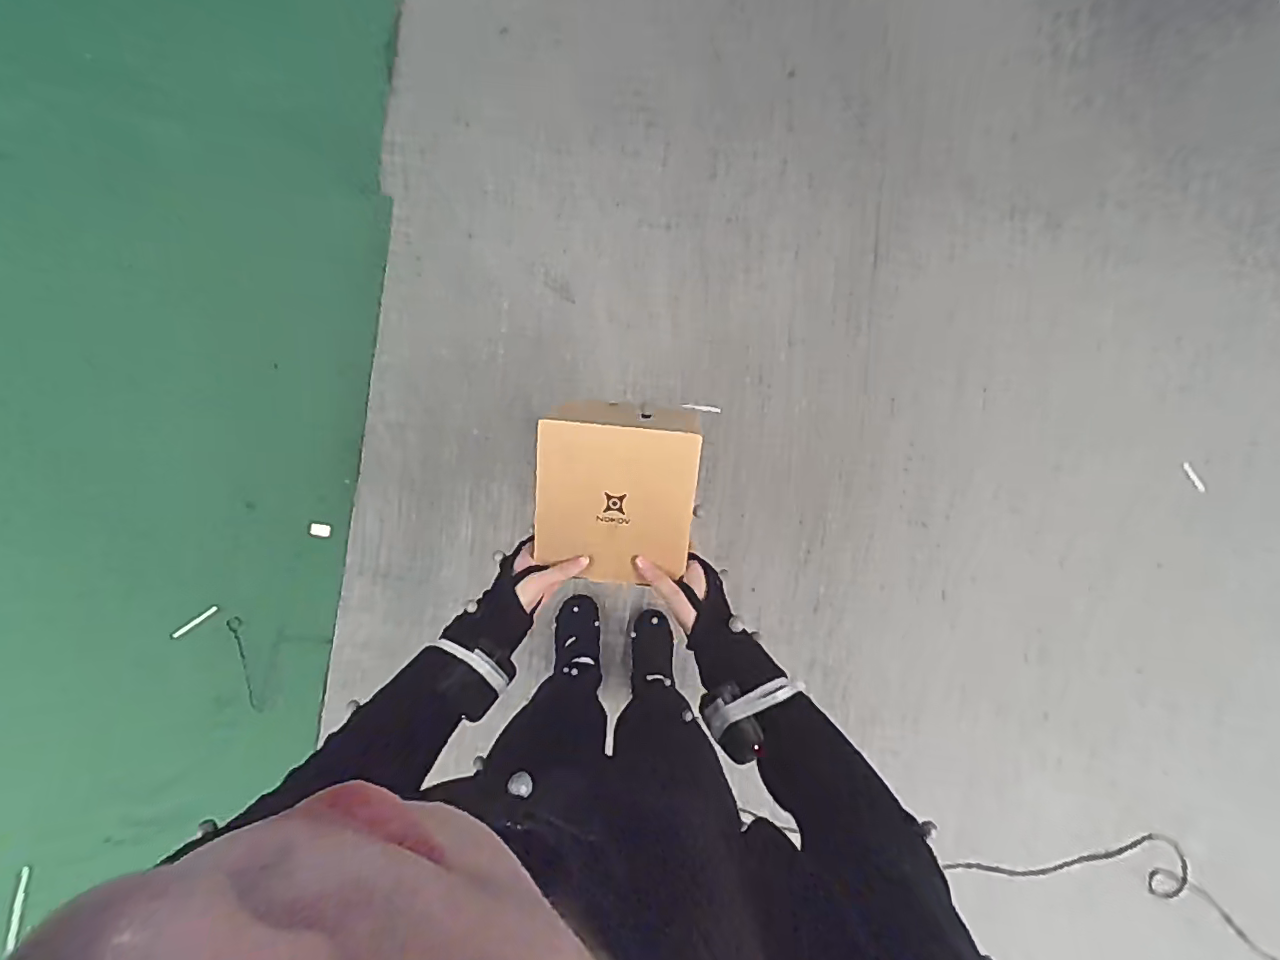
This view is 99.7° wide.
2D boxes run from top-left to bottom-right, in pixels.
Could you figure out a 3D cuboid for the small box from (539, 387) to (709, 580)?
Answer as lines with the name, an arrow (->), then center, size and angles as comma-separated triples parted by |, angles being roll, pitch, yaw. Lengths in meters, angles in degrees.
small box -> -0.016, -0.007, 0.634 | 0.168, 0.176, 0.179 | 6, 110, 2
